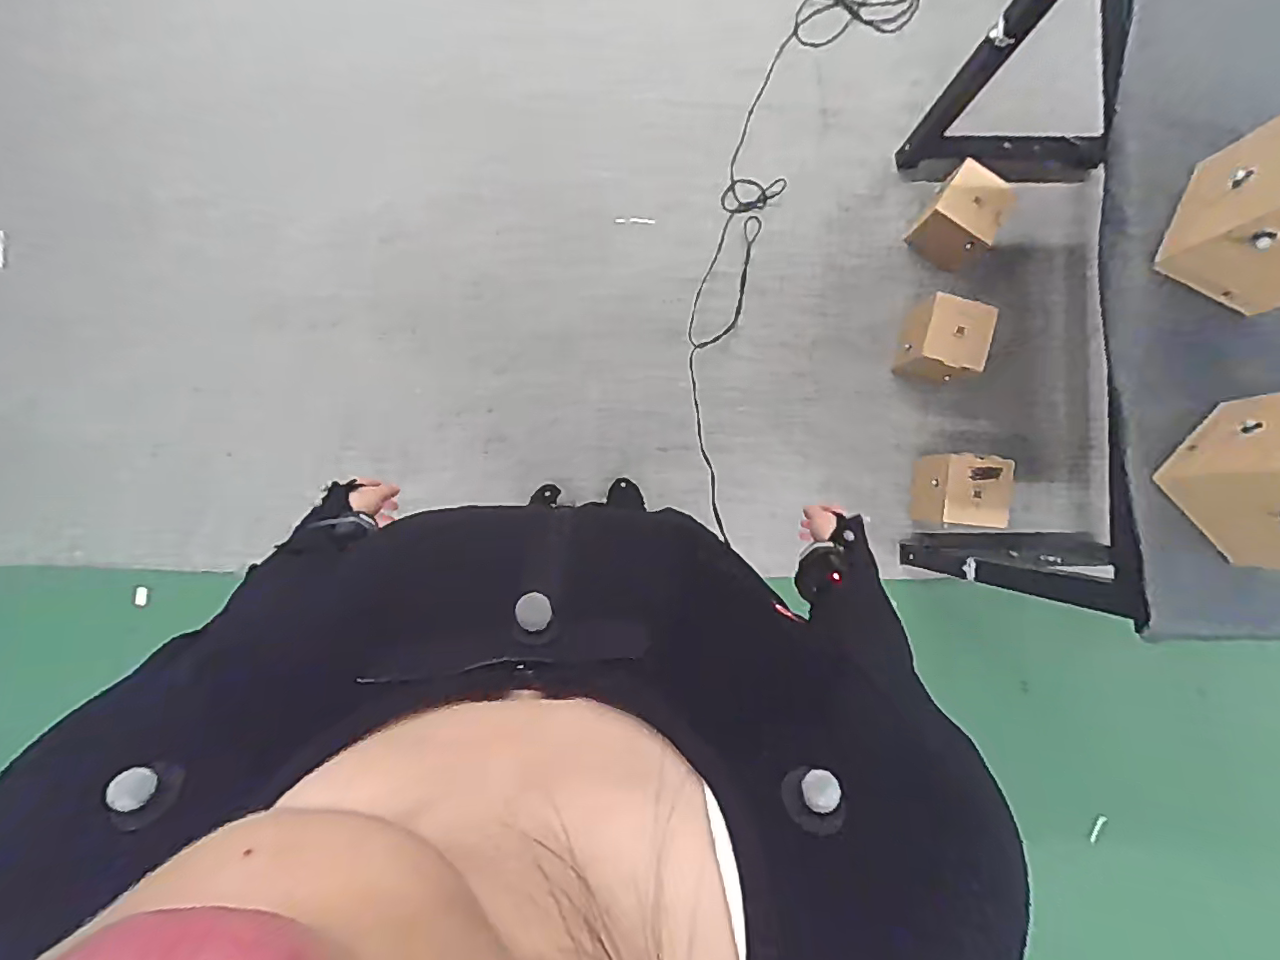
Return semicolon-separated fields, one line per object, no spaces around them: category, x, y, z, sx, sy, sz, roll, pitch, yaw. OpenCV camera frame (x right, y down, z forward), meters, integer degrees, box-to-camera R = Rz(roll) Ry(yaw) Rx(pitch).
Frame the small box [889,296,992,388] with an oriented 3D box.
small box;0.794;-0.360;1.448;0.168;0.176;0.179;14;86;-1

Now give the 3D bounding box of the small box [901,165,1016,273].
small box;0.850;-0.695;1.466;0.179;0.176;0.168;33;87;0

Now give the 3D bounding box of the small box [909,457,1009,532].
small box;0.836;0.040;1.429;0.168;0.176;0.179;6;88;-1

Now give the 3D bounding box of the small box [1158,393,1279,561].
small box;0.849;-0.005;0.698;0.168;0.176;0.179;-43;89;-5
